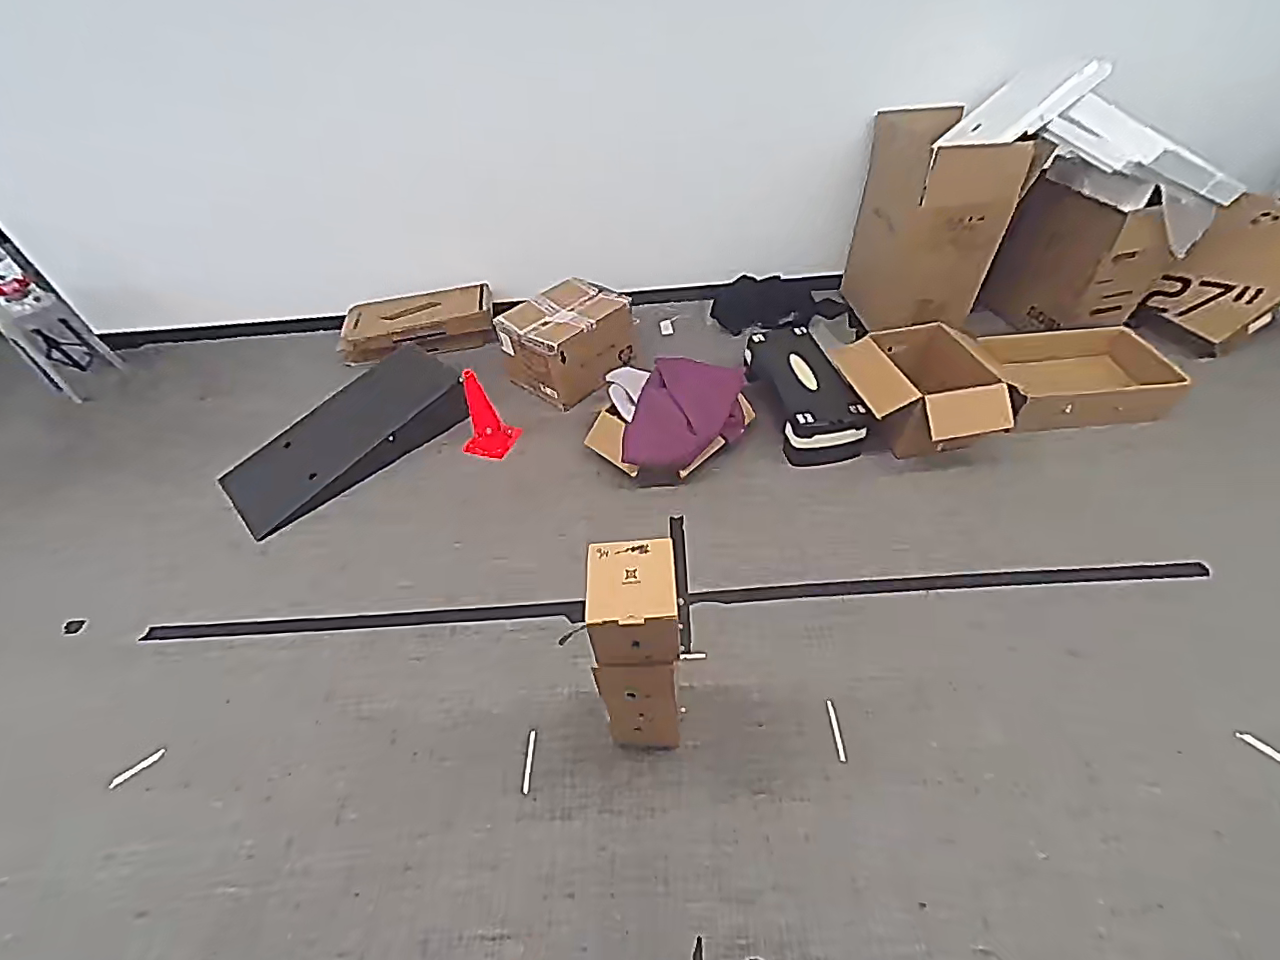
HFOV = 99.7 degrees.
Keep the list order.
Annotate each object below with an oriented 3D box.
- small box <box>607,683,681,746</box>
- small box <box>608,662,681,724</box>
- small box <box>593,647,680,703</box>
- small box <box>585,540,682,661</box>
[{"bbox_3d":[0.016,0.578,1.406,0.179,0.176,0.168,-1,47,5],"label":"small box"},{"bbox_3d":[0.011,0.461,1.290,0.168,0.176,0.179,-1,47,5],"label":"small box"},{"bbox_3d":[-0.001,0.359,1.164,0.168,0.176,0.179,-2,47,6],"label":"small box"},{"bbox_3d":[-0.008,0.239,1.051,0.168,0.176,0.179,-4,47,3],"label":"small box"}]
